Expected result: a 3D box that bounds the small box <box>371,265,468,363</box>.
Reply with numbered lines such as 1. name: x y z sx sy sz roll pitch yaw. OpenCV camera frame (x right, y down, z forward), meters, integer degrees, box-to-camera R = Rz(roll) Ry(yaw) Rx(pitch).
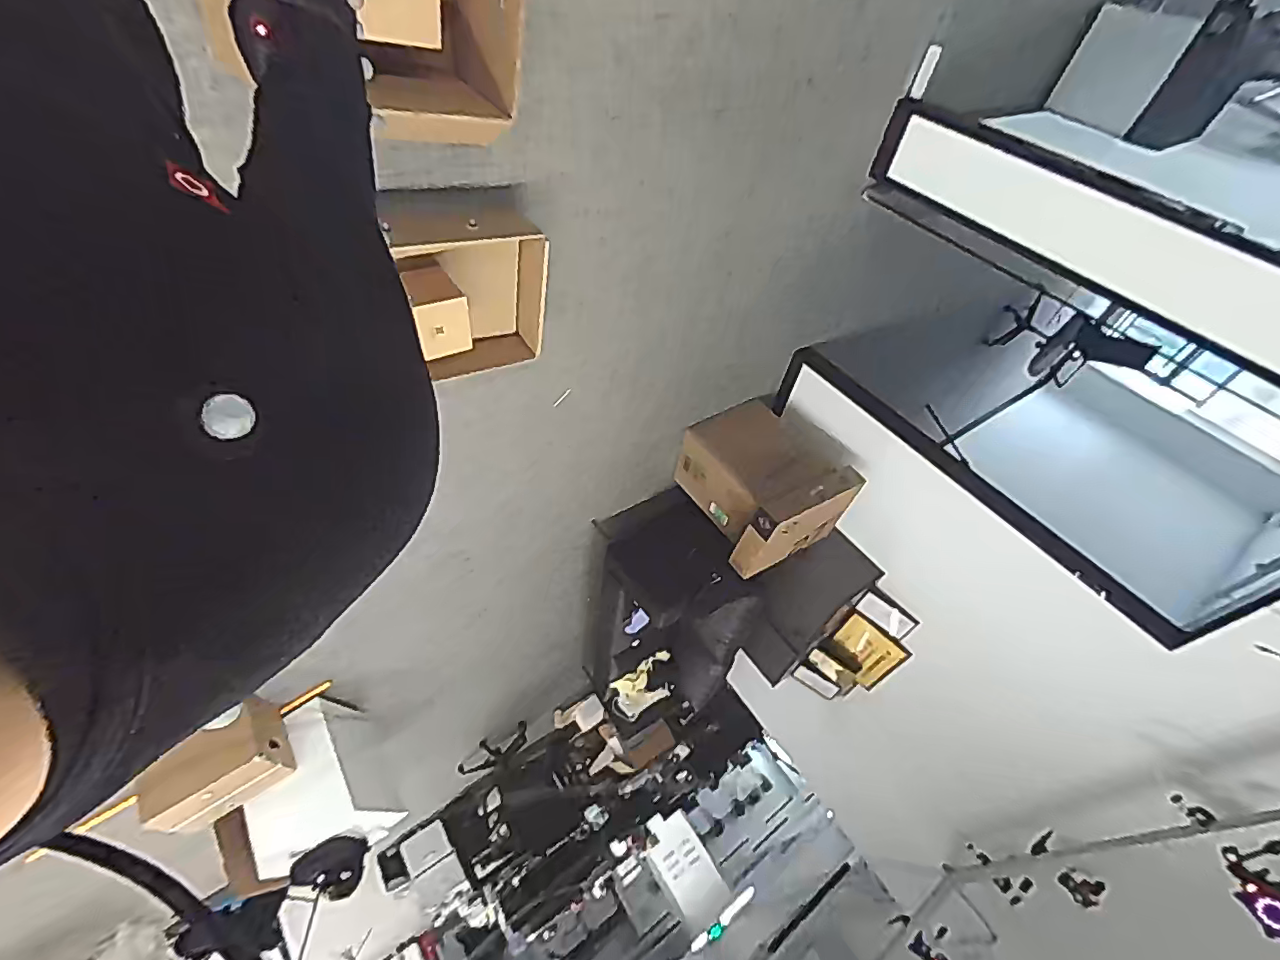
1. small box: -0.575 -0.442 1.423 0.179 0.176 0.168 -24 148 -27
